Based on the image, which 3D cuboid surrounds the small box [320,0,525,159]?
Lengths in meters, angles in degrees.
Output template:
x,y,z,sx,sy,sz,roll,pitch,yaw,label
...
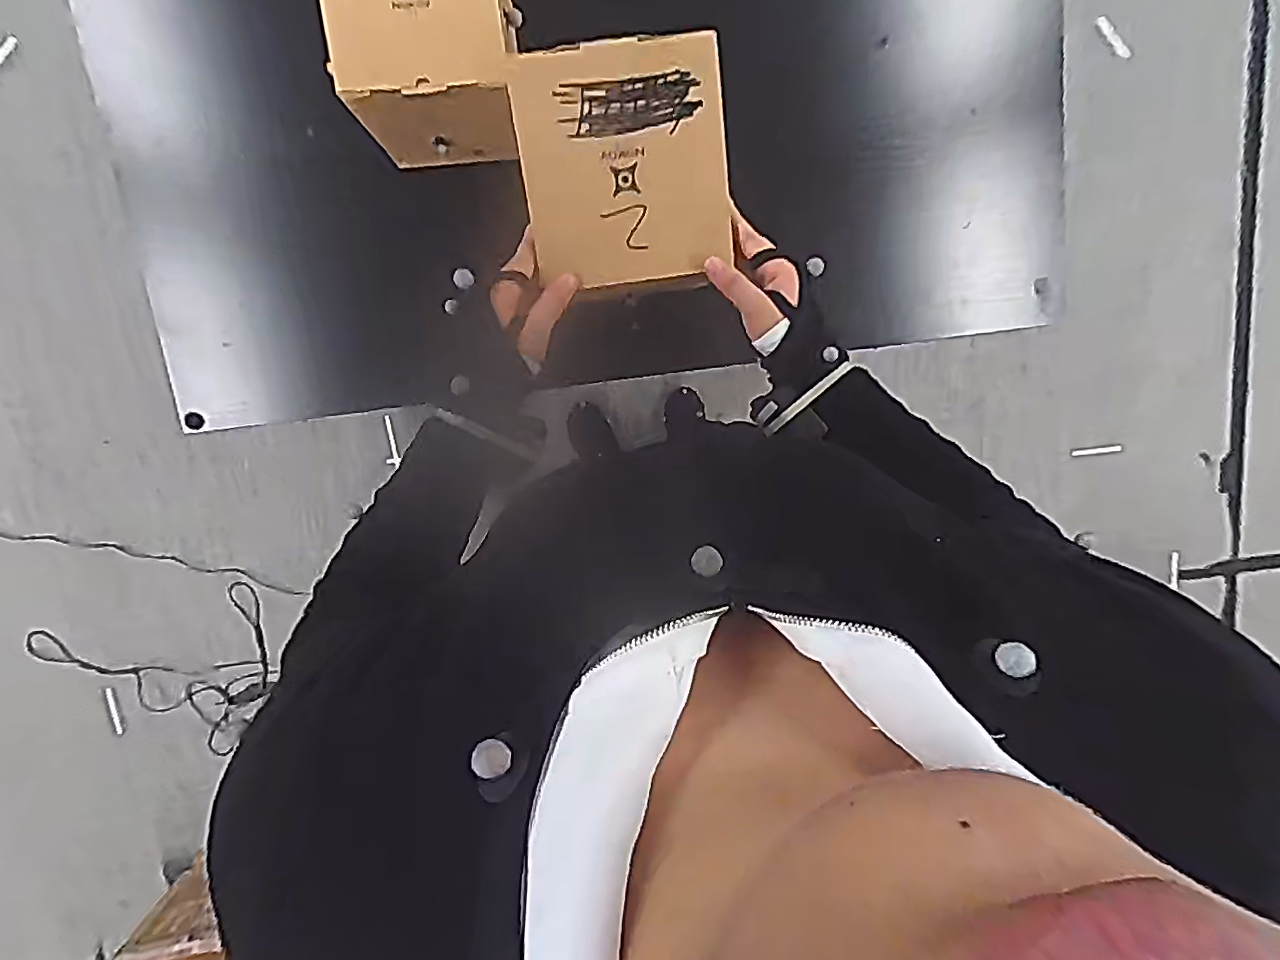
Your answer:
x,y,z,sx,sy,sz,roll,pitch,yaw,label
-0.224,-0.479,0.583,0.168,0.176,0.179,-7,100,-3,small box
